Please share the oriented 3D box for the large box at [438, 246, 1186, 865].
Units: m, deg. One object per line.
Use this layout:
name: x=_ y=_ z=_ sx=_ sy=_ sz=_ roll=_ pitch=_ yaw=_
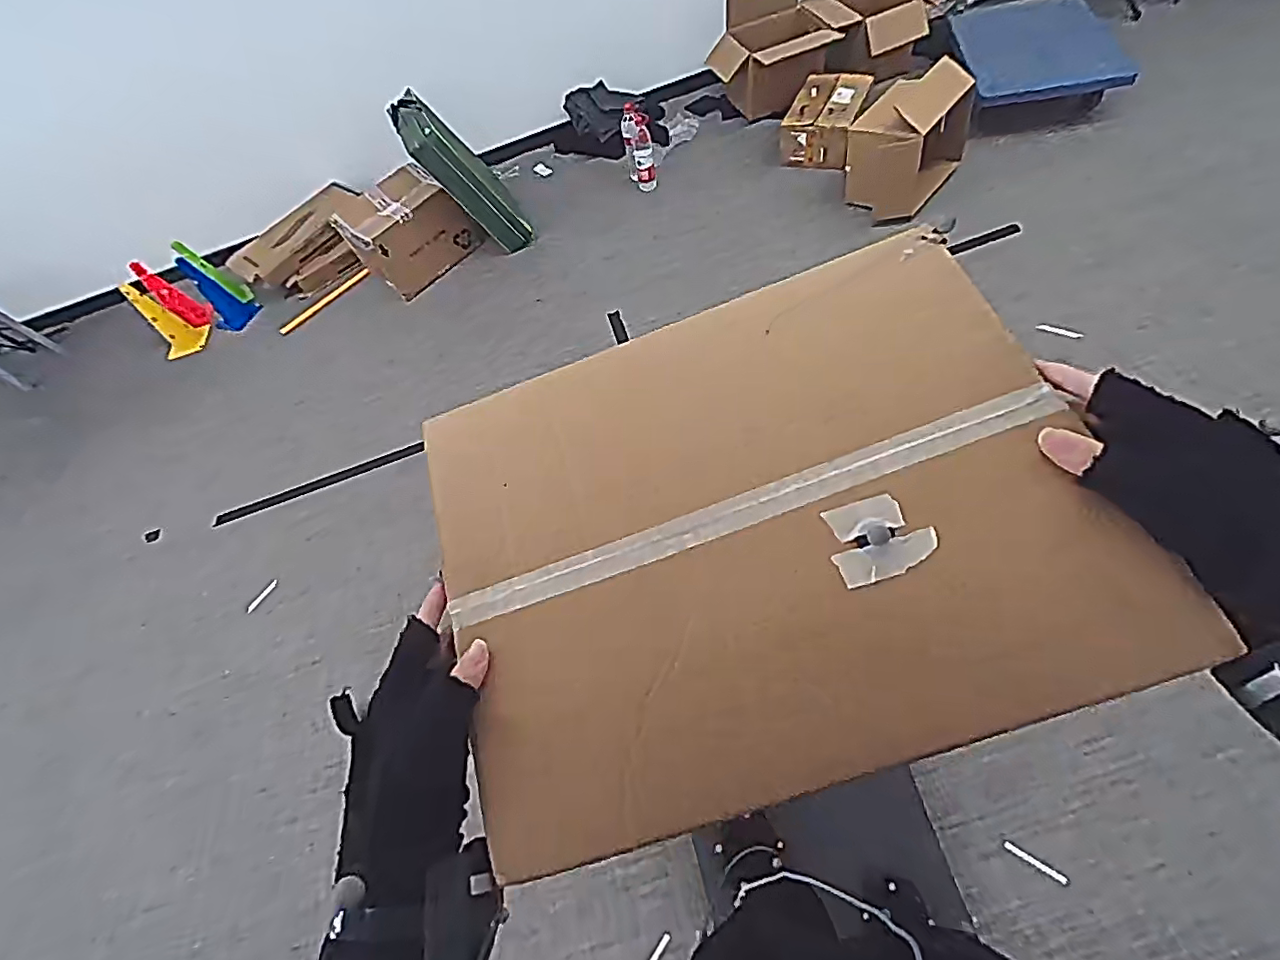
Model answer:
large box: x=0.094 y=0.077 z=0.496 sx=0.408 sy=0.320 sz=0.320 roll=-20 pitch=67 yaw=4
